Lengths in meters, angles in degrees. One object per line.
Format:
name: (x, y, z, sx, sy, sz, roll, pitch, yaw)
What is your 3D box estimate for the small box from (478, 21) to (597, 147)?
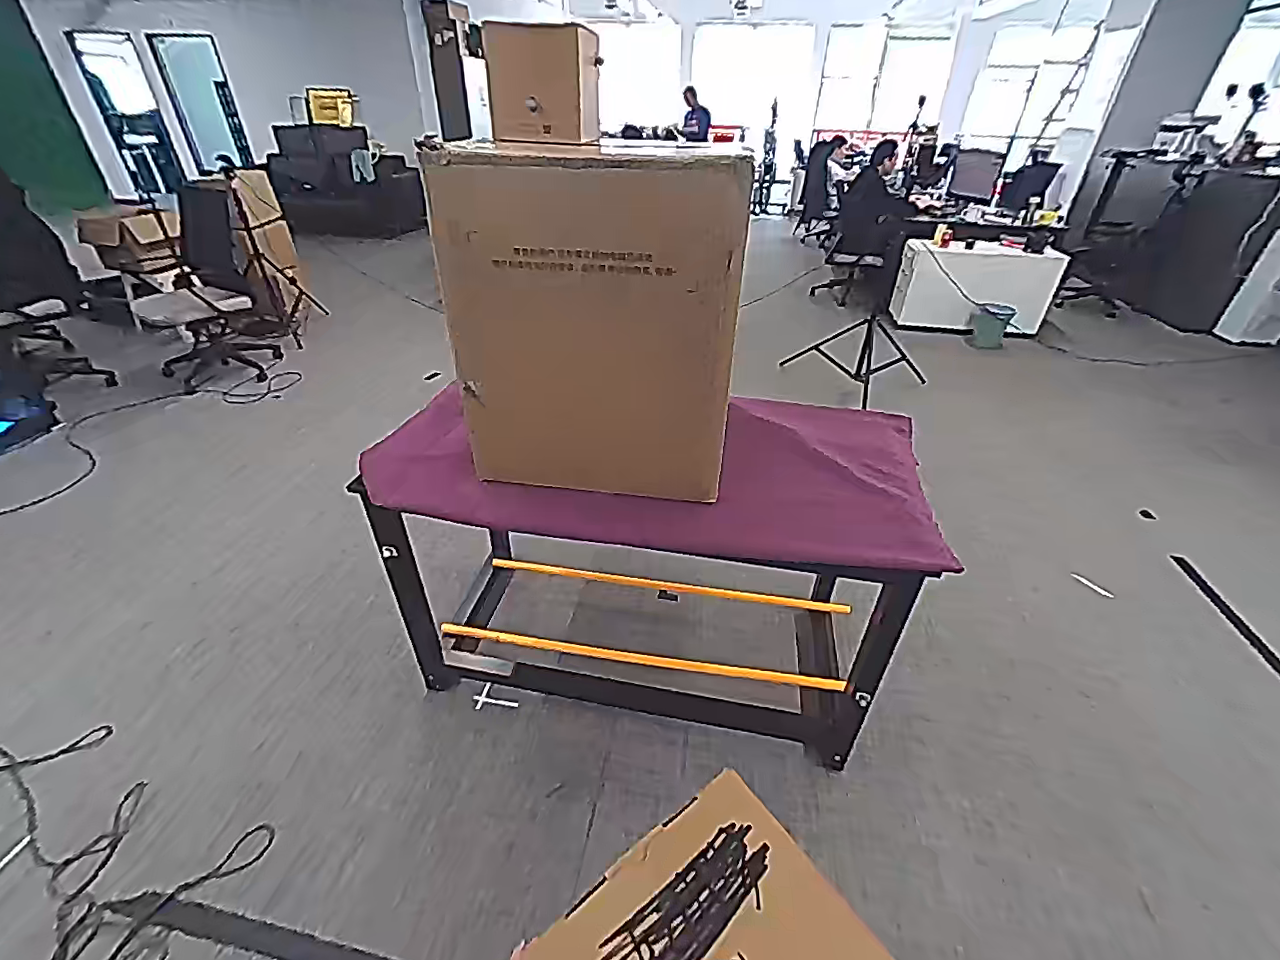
small box: (-0.177, -0.715, 0.986, 0.168, 0.176, 0.179, 6, 35, 6)
